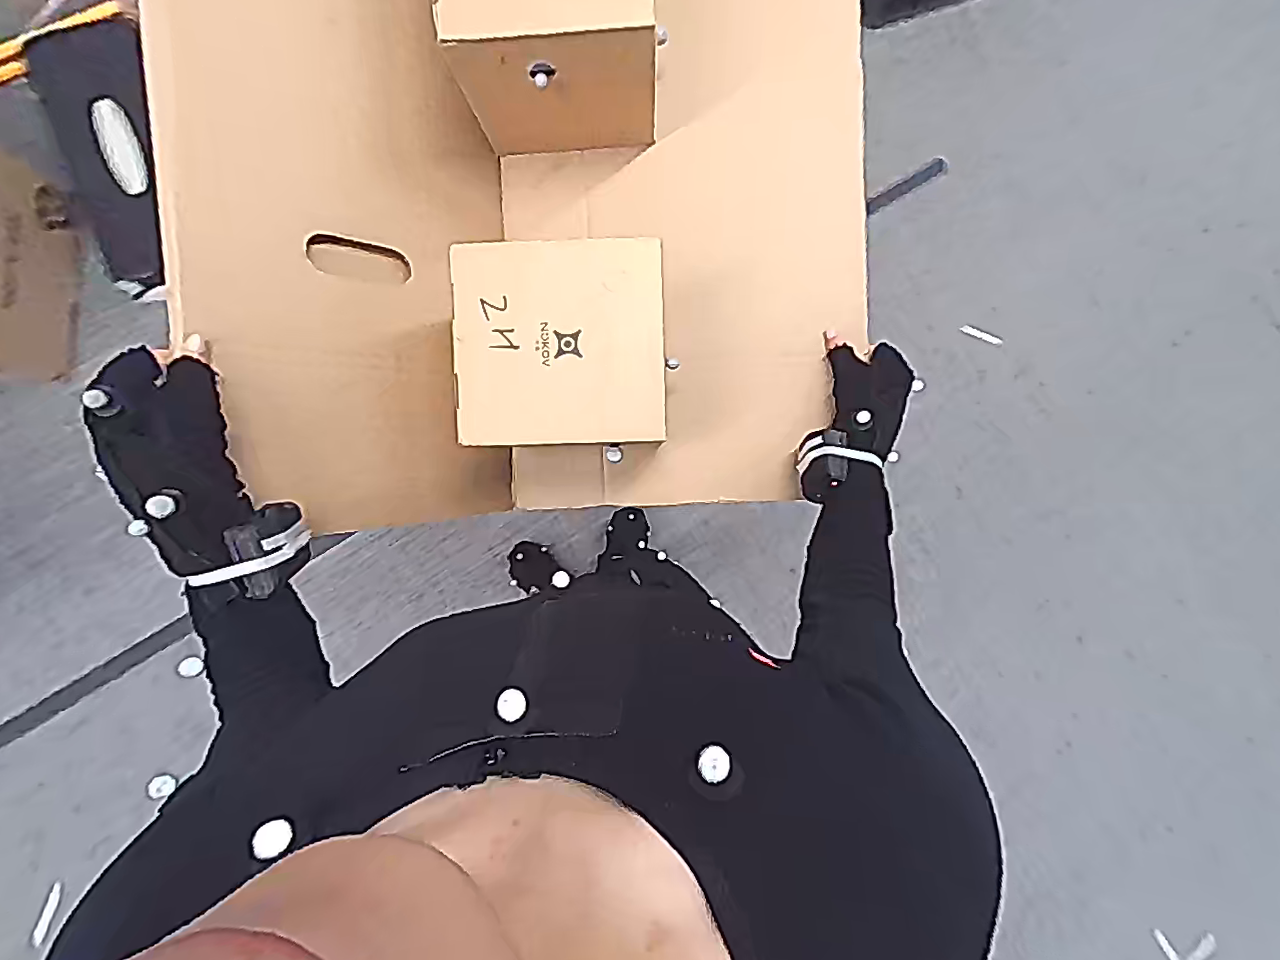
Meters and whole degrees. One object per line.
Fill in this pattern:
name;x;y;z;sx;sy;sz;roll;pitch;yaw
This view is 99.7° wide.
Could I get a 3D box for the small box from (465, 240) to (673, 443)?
small box;-0.058;-0.122;0.533;0.179;0.176;0.168;0;93;2
